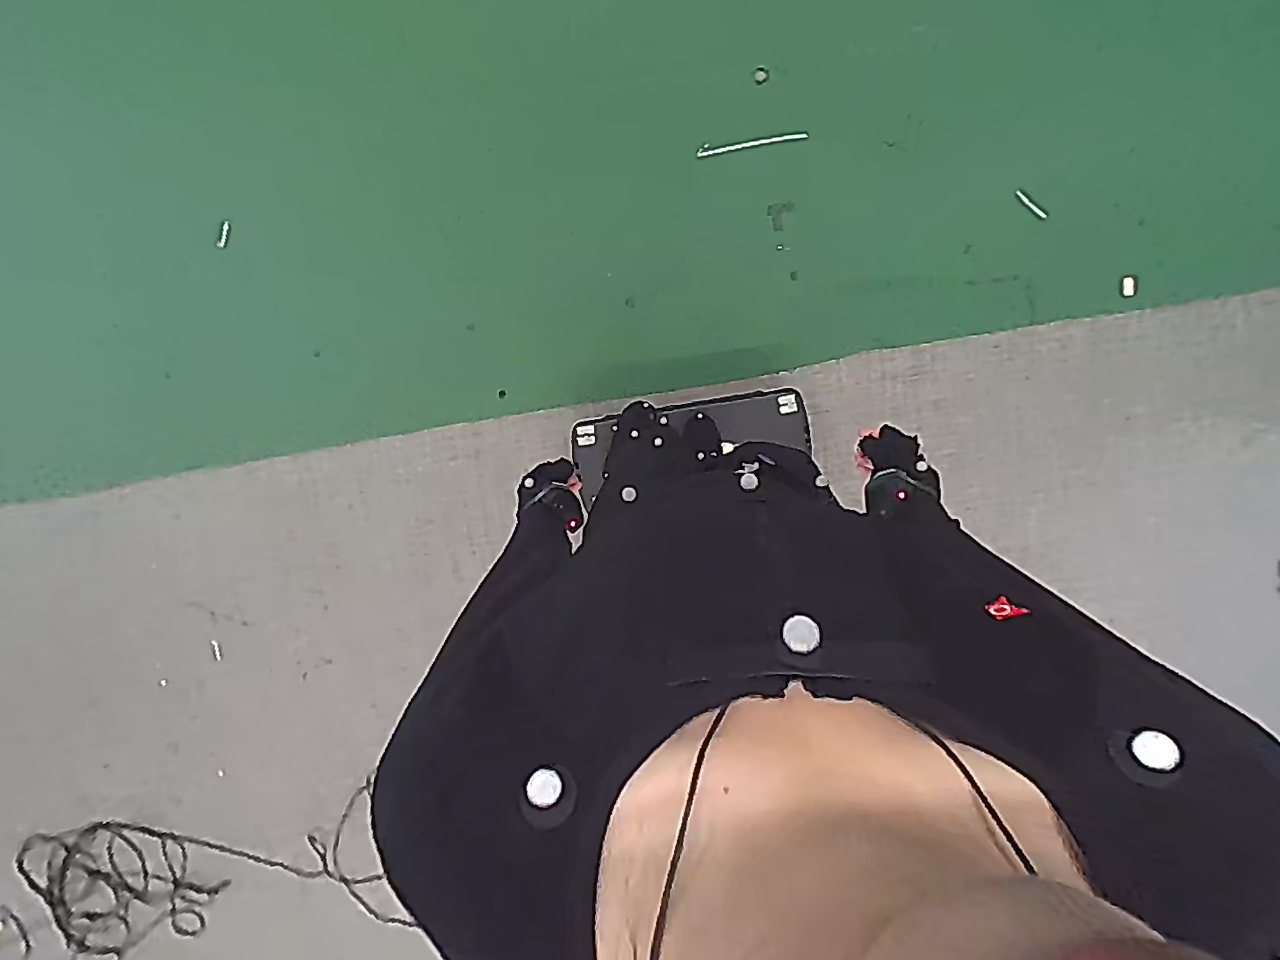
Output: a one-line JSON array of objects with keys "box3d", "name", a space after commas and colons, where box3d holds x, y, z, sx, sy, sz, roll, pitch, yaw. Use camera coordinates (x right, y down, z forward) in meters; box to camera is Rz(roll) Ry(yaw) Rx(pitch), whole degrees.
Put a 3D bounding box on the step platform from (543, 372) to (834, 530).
[{"box3d": [0.117, -0.077, 1.370, 0.684, 0.204, 0.286, -10, 98, 4], "name": "step platform"}]
